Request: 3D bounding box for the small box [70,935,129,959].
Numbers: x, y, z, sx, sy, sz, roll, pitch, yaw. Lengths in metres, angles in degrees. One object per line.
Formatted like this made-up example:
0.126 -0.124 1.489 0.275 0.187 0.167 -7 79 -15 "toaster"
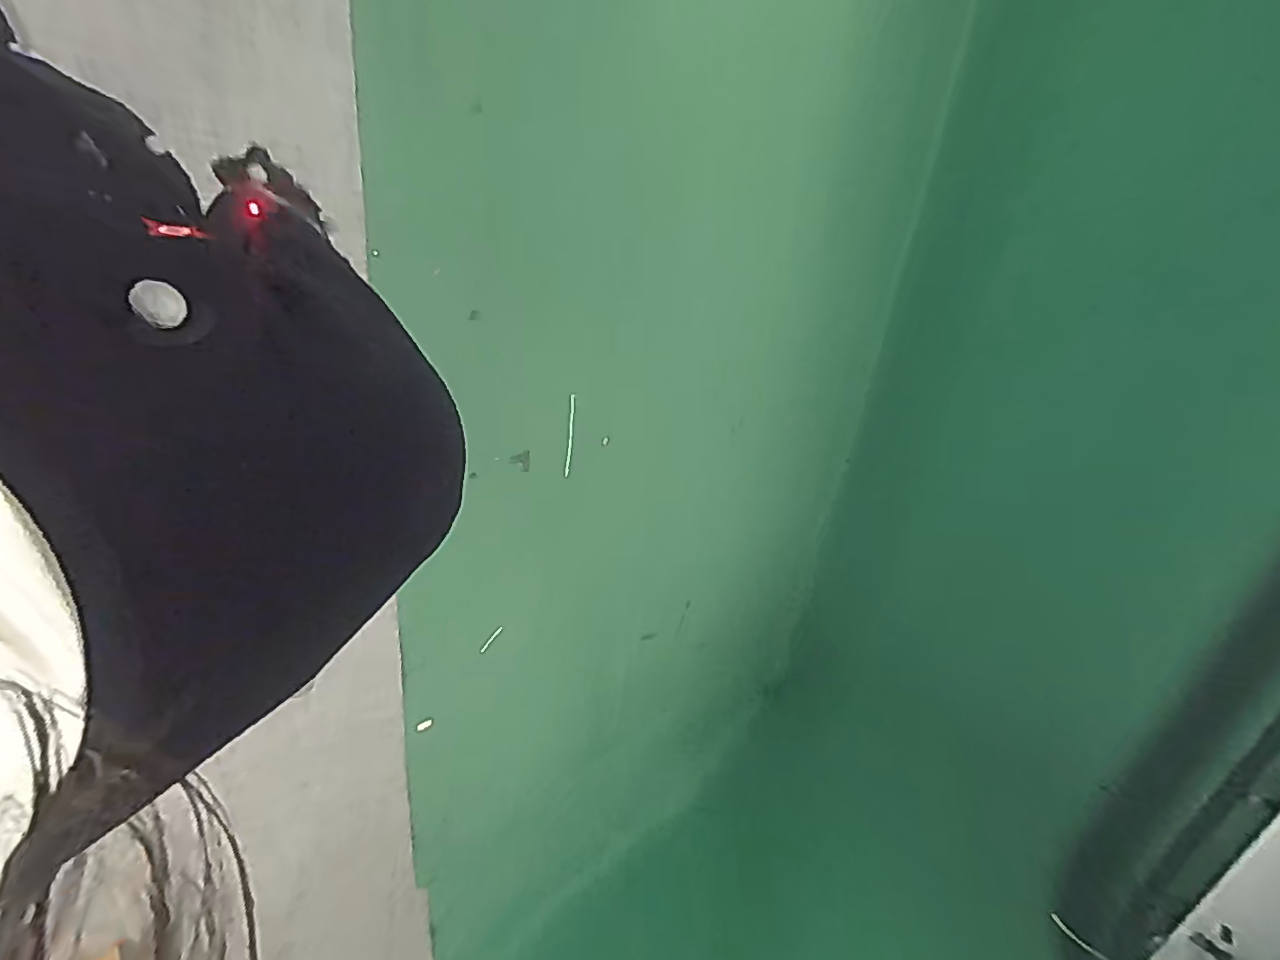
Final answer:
-1.432 1.346 1.390 0.179 0.176 0.168 -11 120 -45 "small box"
